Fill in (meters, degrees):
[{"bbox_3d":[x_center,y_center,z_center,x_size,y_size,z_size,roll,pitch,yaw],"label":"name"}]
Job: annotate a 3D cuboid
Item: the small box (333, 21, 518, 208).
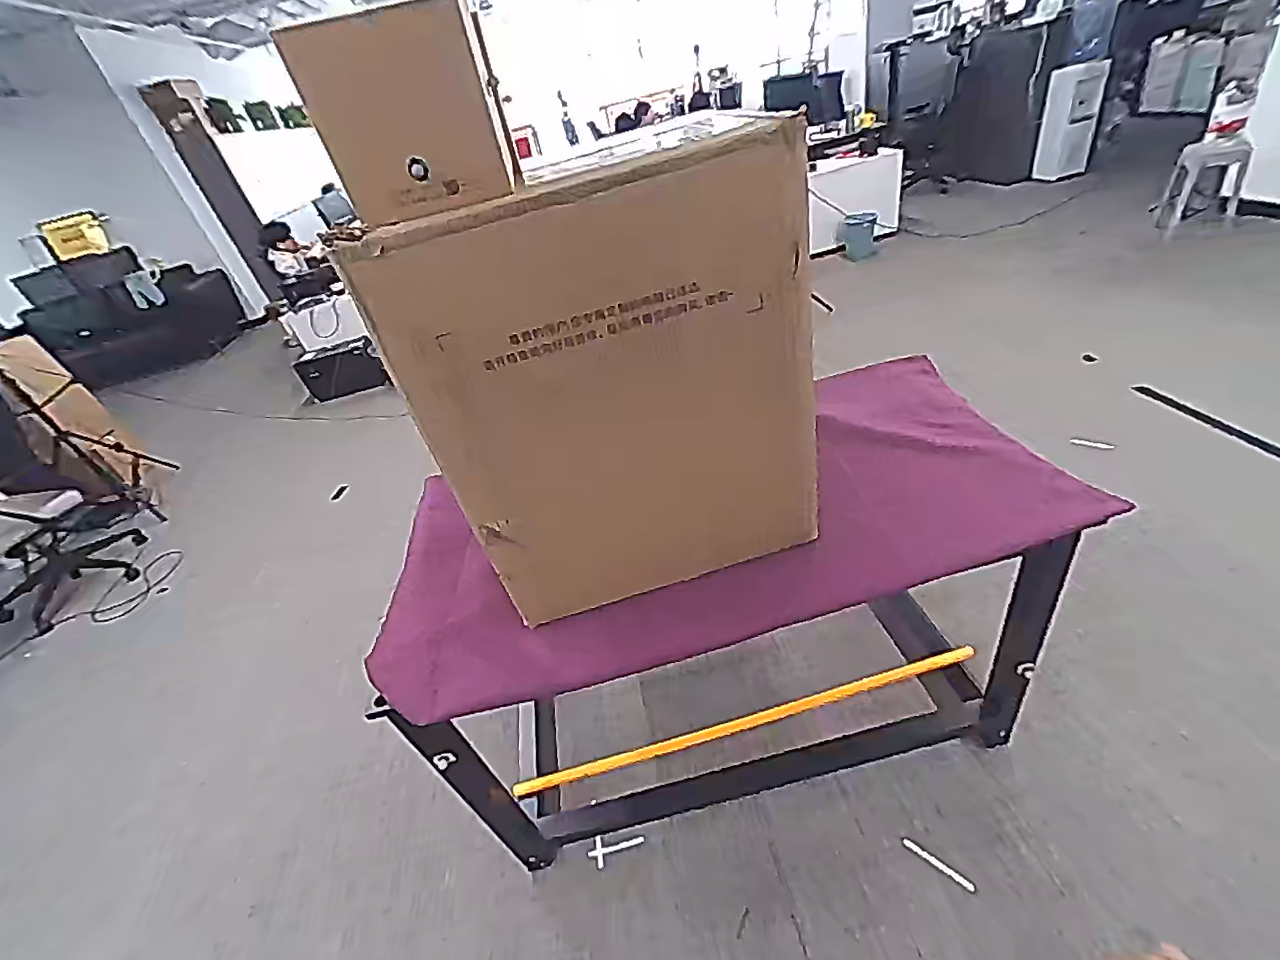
[{"bbox_3d":[-0.270,-0.489,0.733,0.179,0.176,0.168,-16,35,-3],"label":"small box"}]
